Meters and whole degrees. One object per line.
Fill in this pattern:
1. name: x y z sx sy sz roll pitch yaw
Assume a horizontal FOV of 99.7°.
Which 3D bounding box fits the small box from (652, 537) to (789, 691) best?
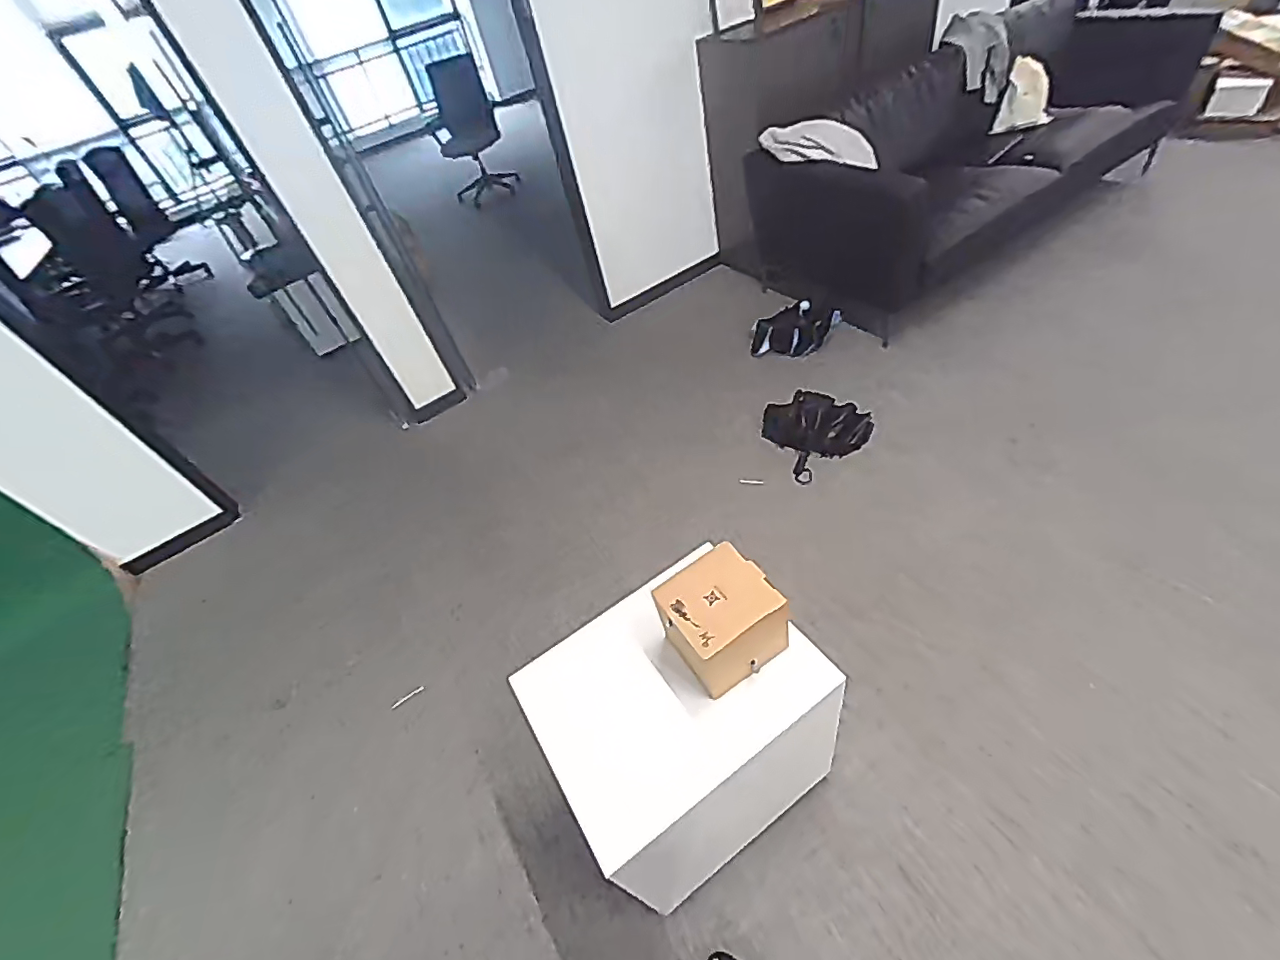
1. small box: 0.145 0.242 0.975 0.179 0.176 0.168 -30 48 -14
